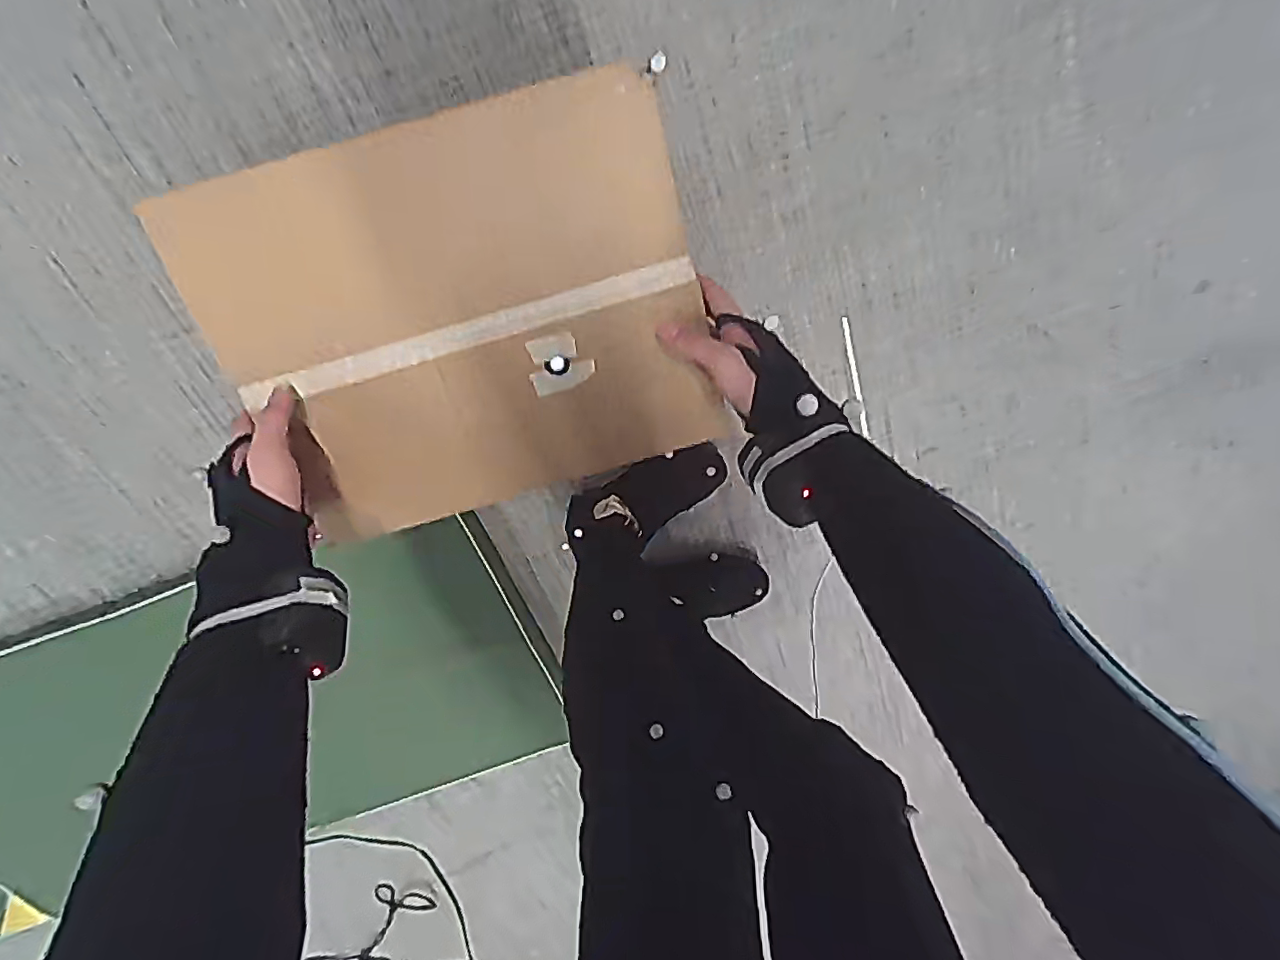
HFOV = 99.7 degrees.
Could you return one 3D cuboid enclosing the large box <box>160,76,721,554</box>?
[{"bbox_3d":[-0.166,-0.171,0.614,0.408,0.320,0.320,-17,113,0],"label":"large box"}]
